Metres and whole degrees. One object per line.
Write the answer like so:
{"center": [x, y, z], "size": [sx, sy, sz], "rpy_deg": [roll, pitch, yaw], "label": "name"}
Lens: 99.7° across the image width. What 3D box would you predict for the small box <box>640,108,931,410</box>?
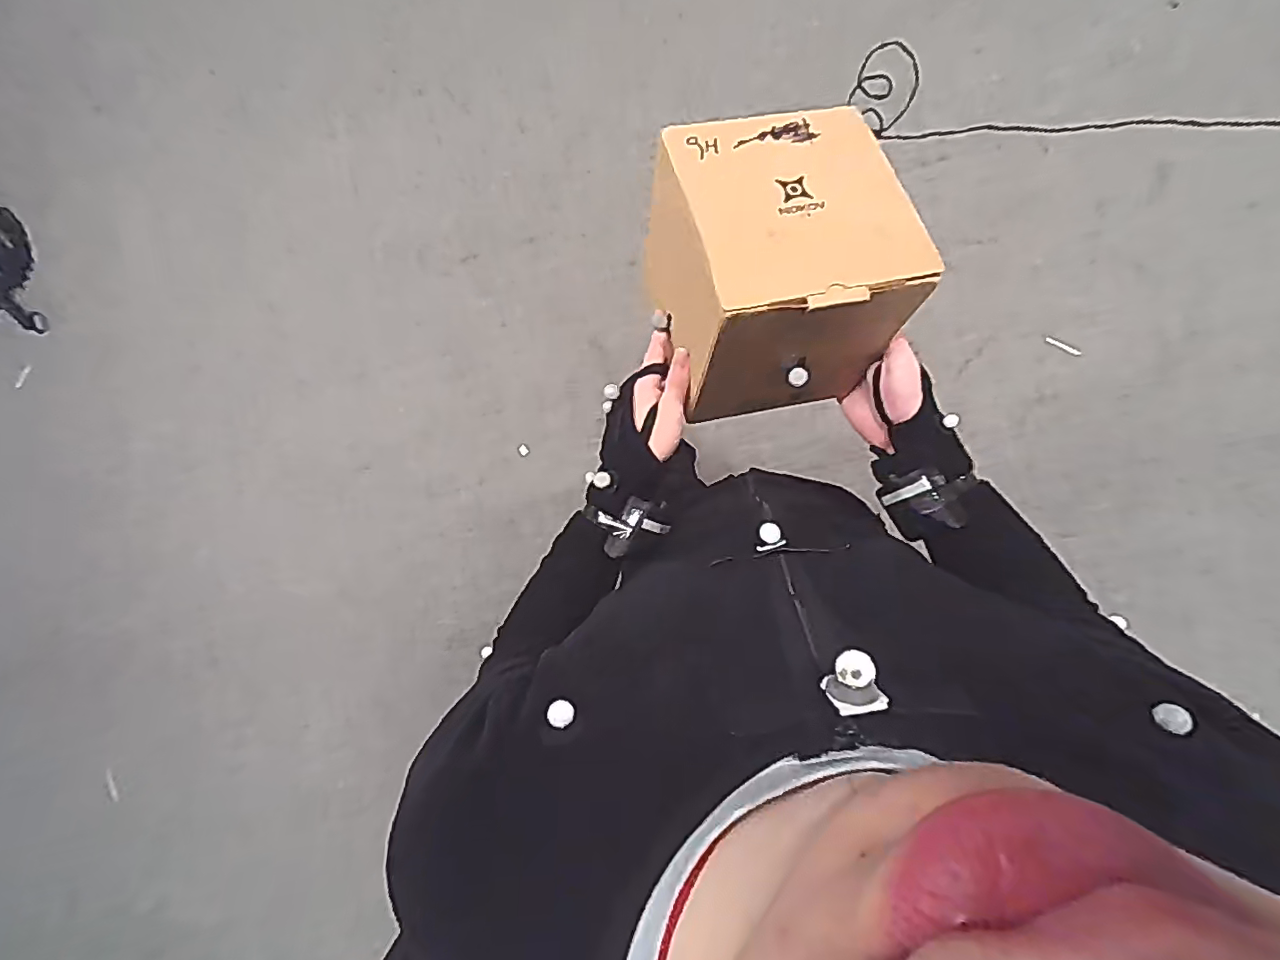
{"center": [0.101, -0.172, 0.465], "size": [0.168, 0.176, 0.179], "rpy_deg": [-10, 72, -9], "label": "small box"}
